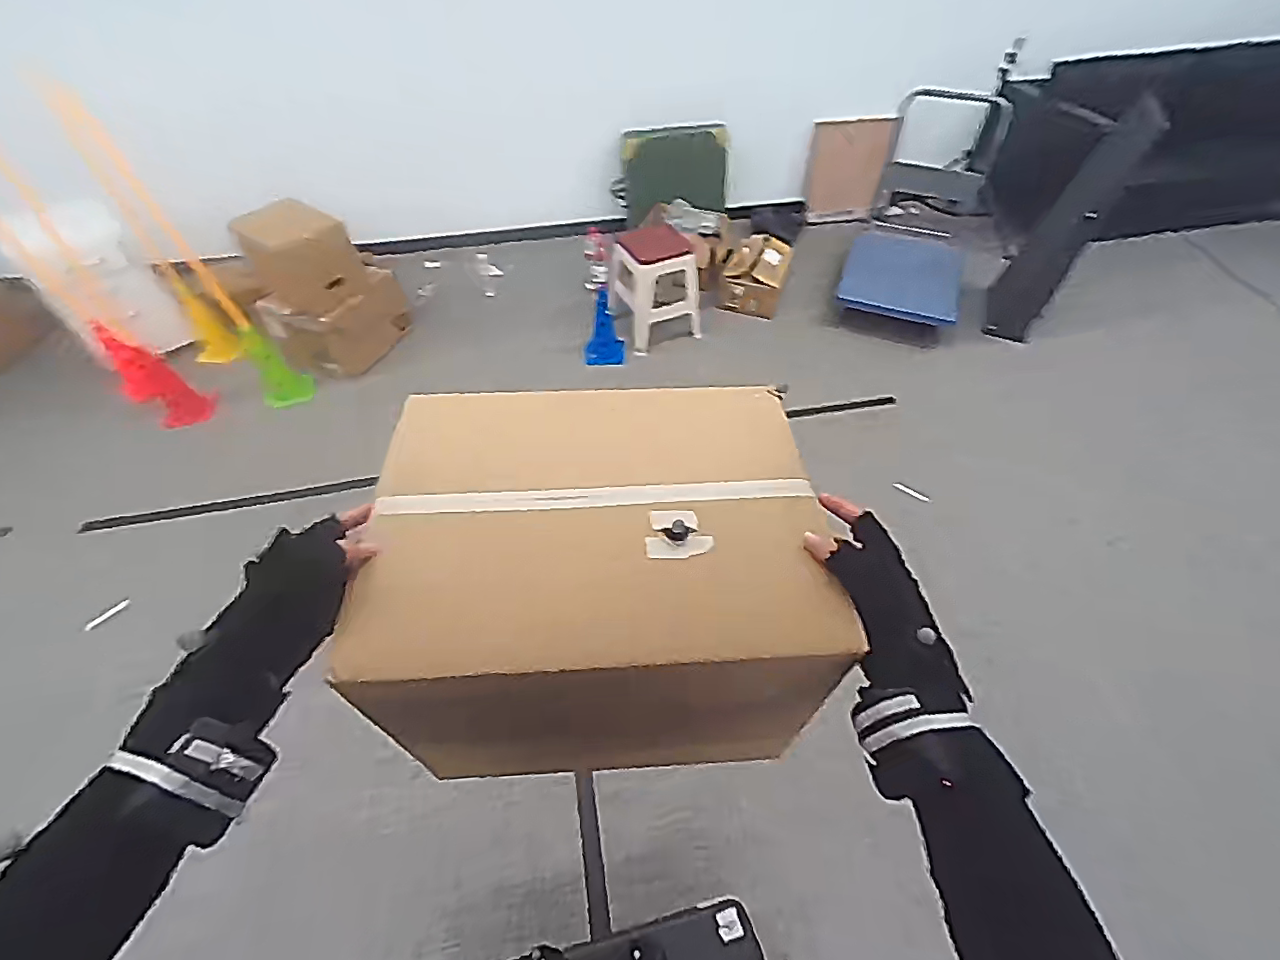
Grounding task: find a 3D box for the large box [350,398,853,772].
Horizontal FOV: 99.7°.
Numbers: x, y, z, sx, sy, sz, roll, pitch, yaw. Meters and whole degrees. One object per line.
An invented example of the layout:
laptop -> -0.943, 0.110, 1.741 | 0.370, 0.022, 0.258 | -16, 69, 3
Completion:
large box -> -0.040, 0.122, 0.628 | 0.408, 0.320, 0.320 | -1, 50, -4
